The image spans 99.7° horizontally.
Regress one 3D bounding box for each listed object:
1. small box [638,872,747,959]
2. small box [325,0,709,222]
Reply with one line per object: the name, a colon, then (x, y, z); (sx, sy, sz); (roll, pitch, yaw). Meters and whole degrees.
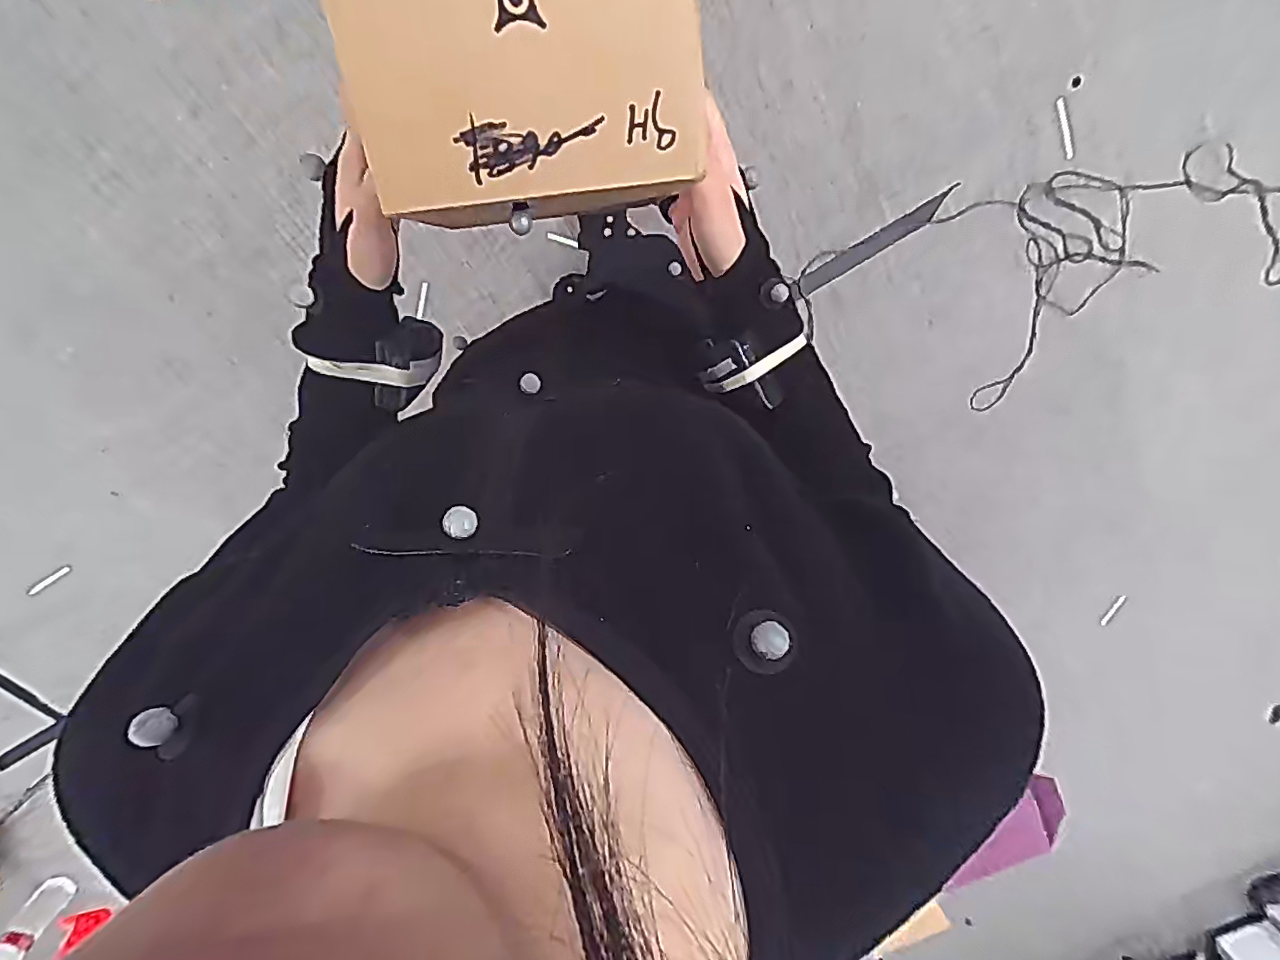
small box: (0.109, 0.954, 1.112); (0.179, 0.176, 0.168); (-28, 113, 8)
small box: (-0.067, -0.256, 0.304); (0.168, 0.176, 0.179); (-10, 113, -4)
